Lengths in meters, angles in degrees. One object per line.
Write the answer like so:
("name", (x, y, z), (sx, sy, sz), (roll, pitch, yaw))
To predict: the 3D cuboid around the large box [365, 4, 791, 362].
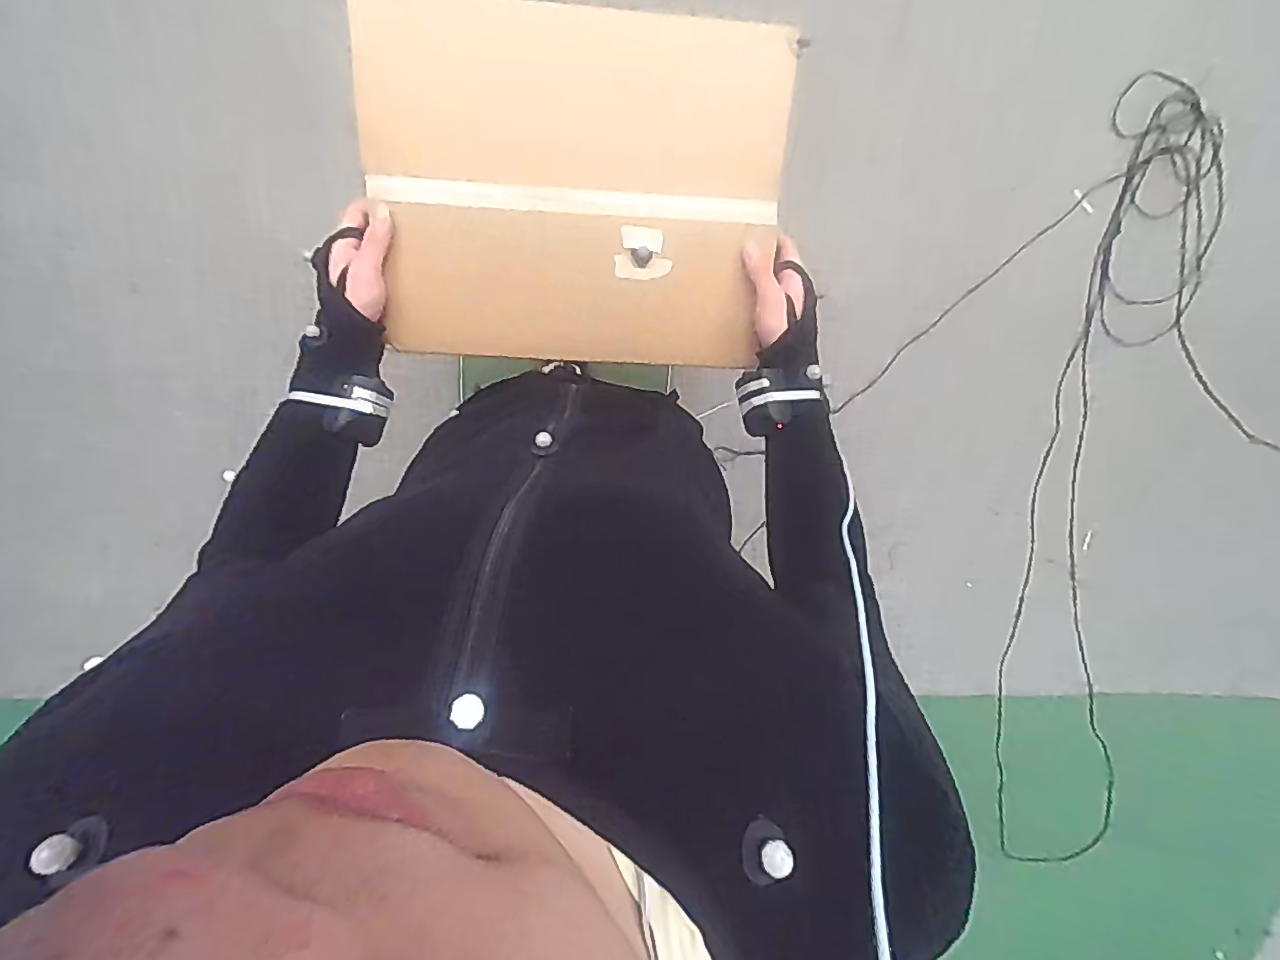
("large box", (-0.070, -0.329, 0.689), (0.408, 0.320, 0.320), (2, 110, -5))
